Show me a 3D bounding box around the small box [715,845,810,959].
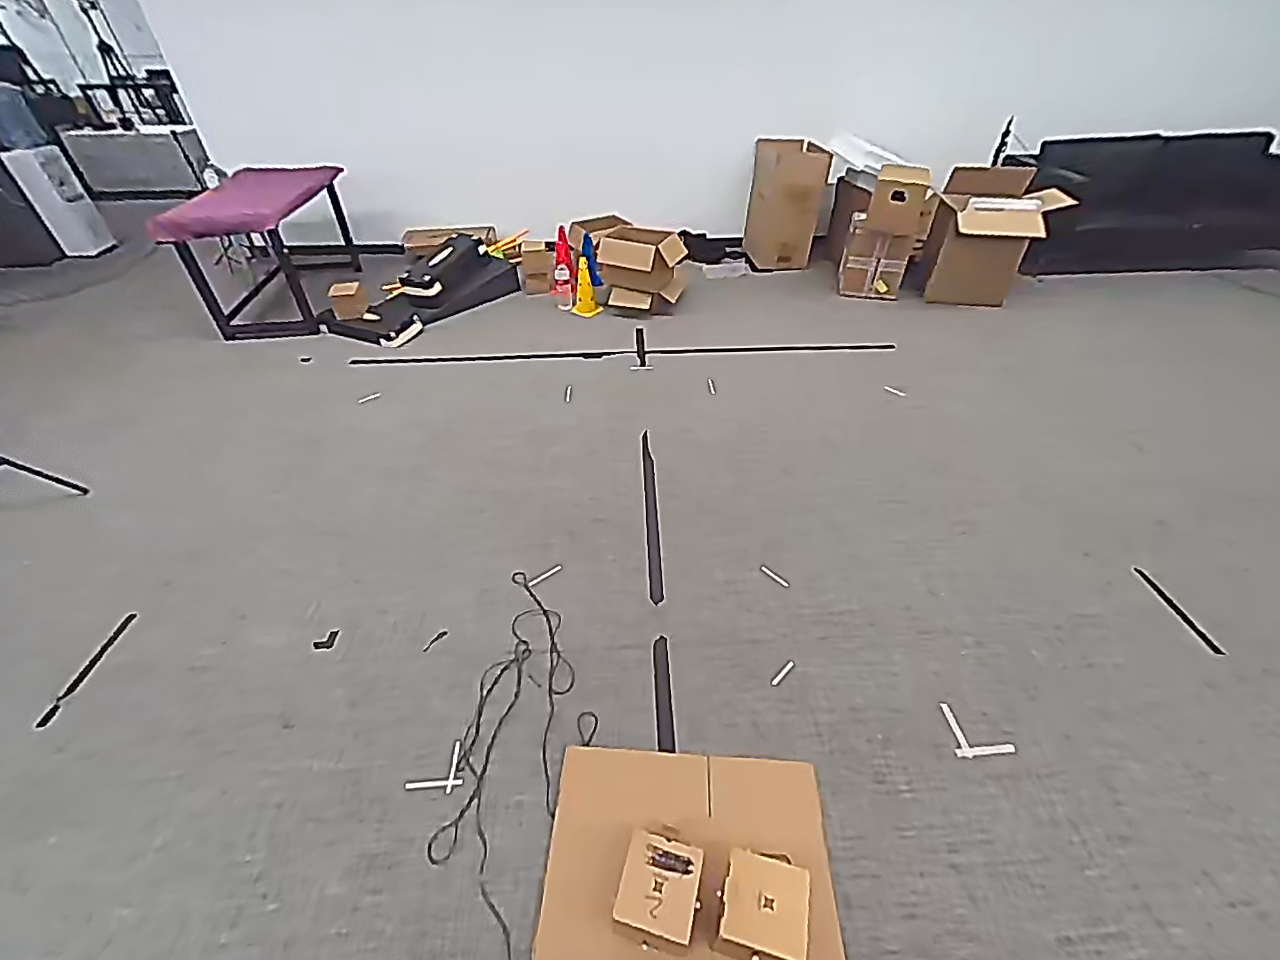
[{"bbox_3d":[0.272,0.961,1.214,0.179,0.176,0.168,10,42,13],"label":"small box"}]
